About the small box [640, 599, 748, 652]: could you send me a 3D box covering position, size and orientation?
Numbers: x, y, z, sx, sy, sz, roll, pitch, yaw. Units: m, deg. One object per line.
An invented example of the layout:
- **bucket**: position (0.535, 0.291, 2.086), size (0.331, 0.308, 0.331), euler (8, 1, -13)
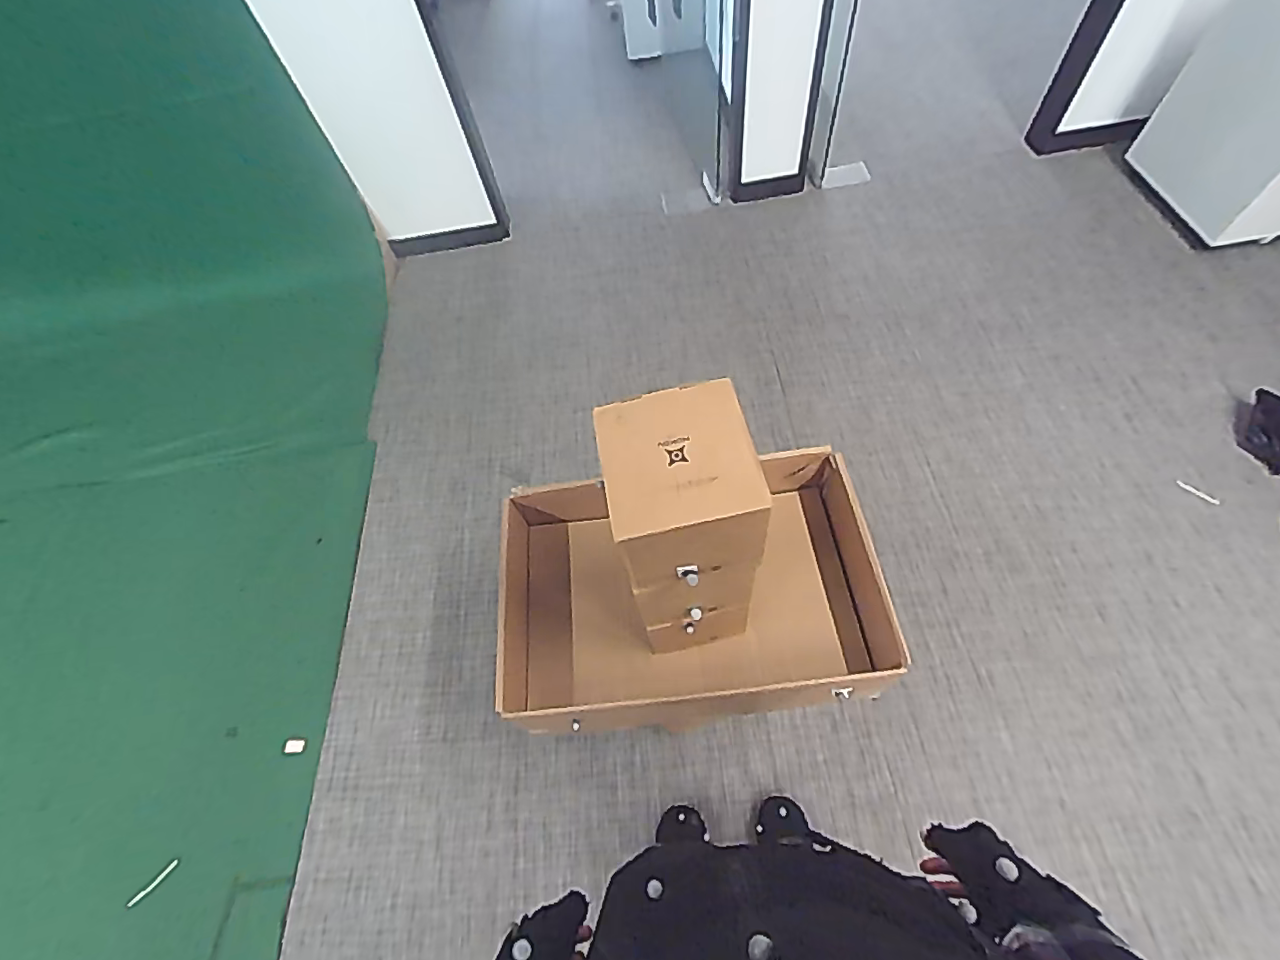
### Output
- **small box**: position (0.079, 0.178, 0.935), size (0.168, 0.176, 0.179), euler (-14, 58, 1)

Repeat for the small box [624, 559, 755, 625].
- **small box**: position (0.061, 0.093, 0.795), size (0.168, 0.176, 0.179), euler (-13, 60, 1)

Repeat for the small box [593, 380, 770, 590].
- **small box**: position (0.048, 0.012, 0.656), size (0.168, 0.176, 0.179), euler (-13, 60, 2)
